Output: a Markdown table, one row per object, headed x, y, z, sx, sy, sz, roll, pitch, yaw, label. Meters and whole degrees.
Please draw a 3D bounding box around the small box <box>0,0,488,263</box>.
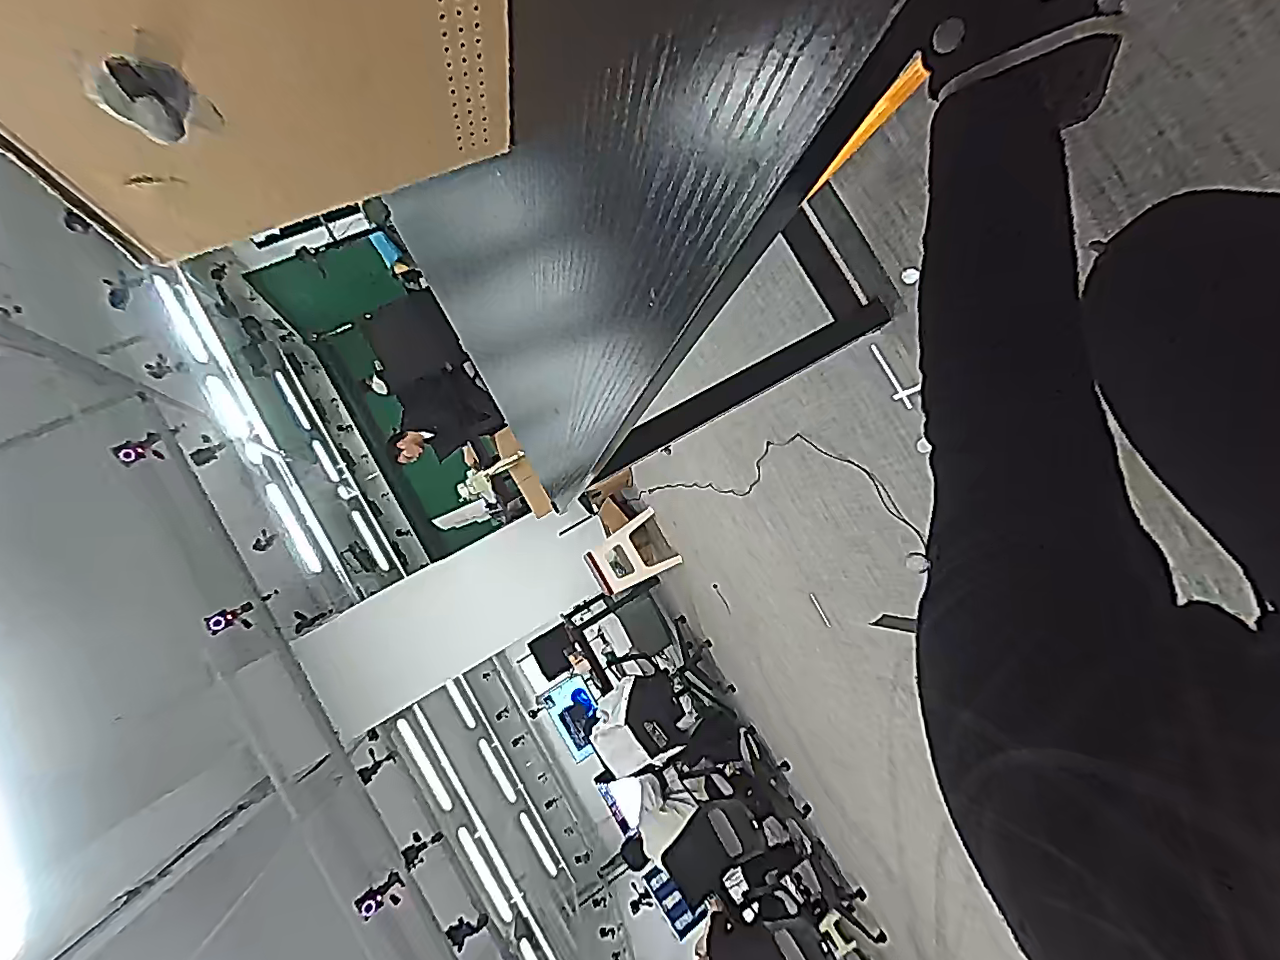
| x | y | z | sx | sy | sz | roll | pitch | yaw | label |
| --- | --- | --- | --- | --- | --- | --- | --- | --- | --- |
| -0.159 | -0.208 | 0.169 | 0.168 | 0.176 | 0.179 | 61 | 165 | 0 | small box |
